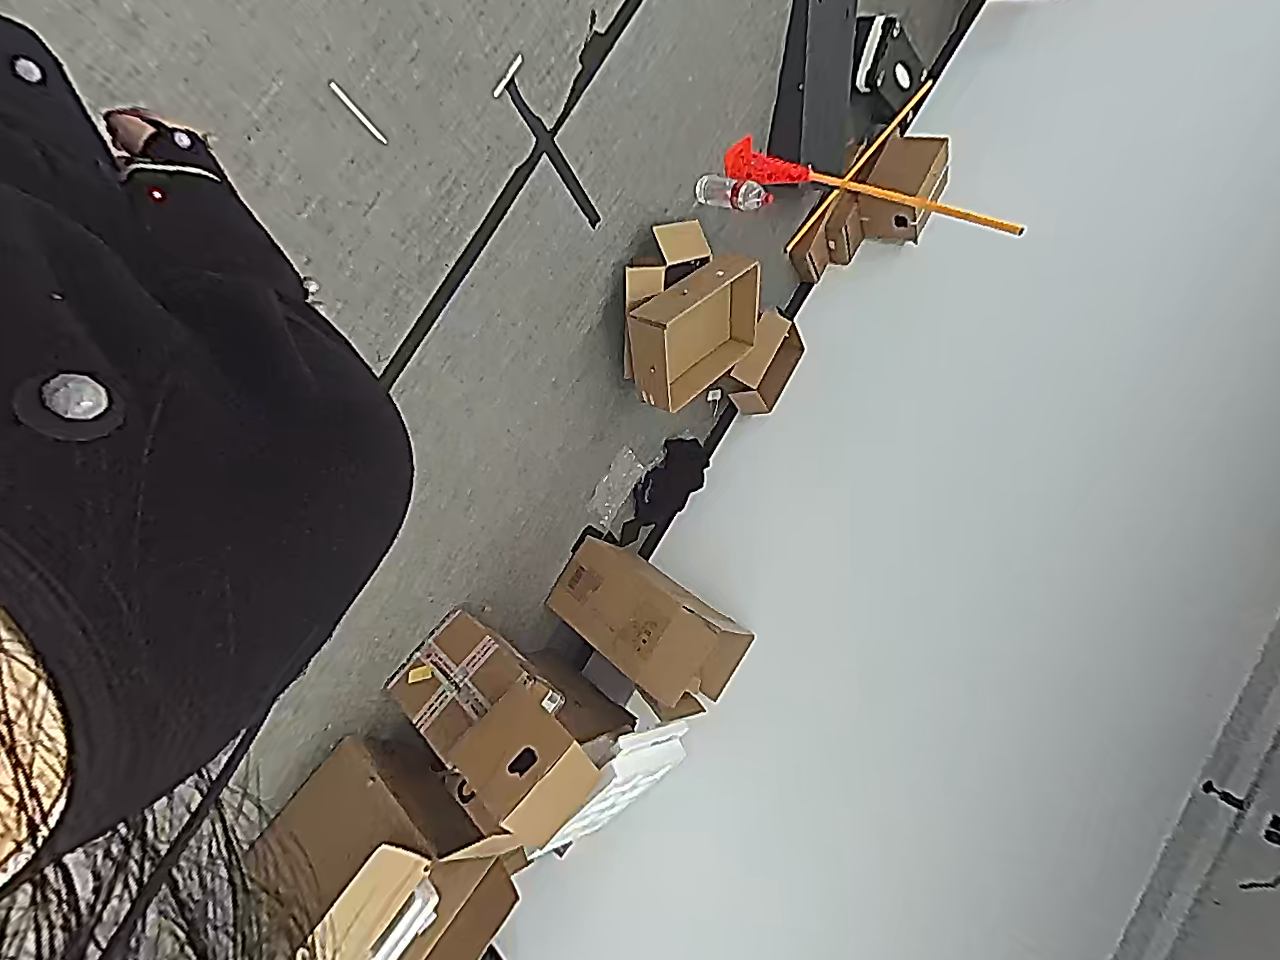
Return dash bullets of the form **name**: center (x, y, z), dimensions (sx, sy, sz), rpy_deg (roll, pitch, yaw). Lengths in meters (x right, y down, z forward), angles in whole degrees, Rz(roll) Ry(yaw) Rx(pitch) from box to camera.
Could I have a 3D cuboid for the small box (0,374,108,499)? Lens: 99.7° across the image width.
- **small box**: center (-1.144, -0.090, 1.009), dimensions (0.168, 0.176, 0.179), rpy_deg (-20, 131, -46)
